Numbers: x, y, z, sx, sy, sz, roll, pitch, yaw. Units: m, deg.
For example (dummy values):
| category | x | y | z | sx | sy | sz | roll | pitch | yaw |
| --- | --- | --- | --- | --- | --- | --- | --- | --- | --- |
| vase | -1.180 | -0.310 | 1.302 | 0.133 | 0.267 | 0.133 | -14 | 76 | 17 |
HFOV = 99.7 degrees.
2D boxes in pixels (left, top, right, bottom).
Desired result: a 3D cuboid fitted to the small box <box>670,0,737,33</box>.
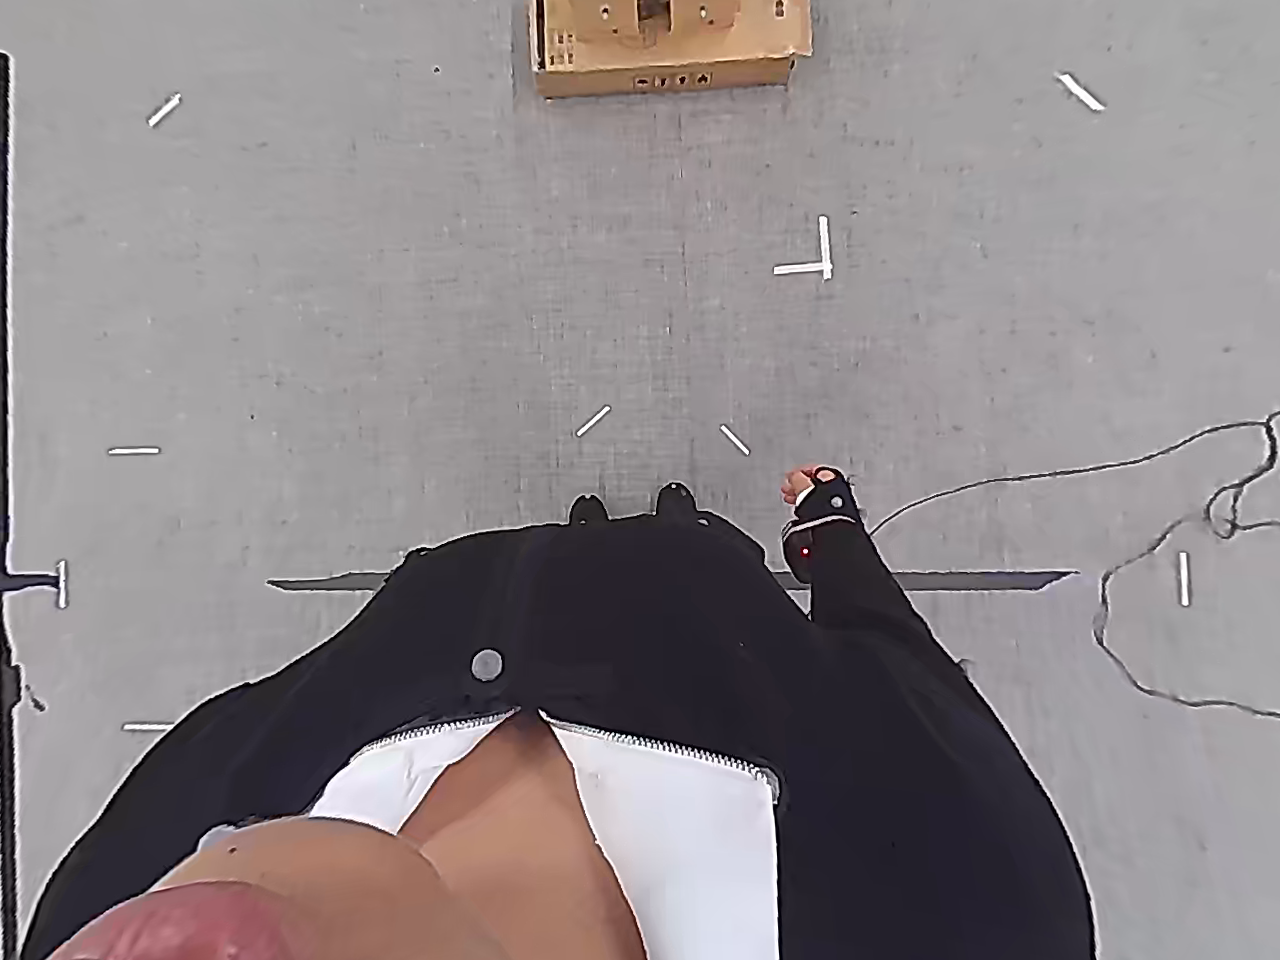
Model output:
| category | x | y | z | sx | sy | sz | roll | pitch | yaw |
| --- | --- | --- | --- | --- | --- | --- | --- | --- | --- |
| small box | 0.156 | -1.265 | 1.340 | 0.168 | 0.176 | 0.179 | -2 | 88 | 3 |

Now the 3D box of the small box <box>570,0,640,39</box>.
| category | x | y | z | sx | sy | sz | roll | pitch | yaw |
| --- | --- | --- | --- | --- | --- | --- | --- | --- | --- |
| small box | -0.091 | -1.249 | 1.352 | 0.168 | 0.176 | 0.179 | -4 | 89 | 3 |
